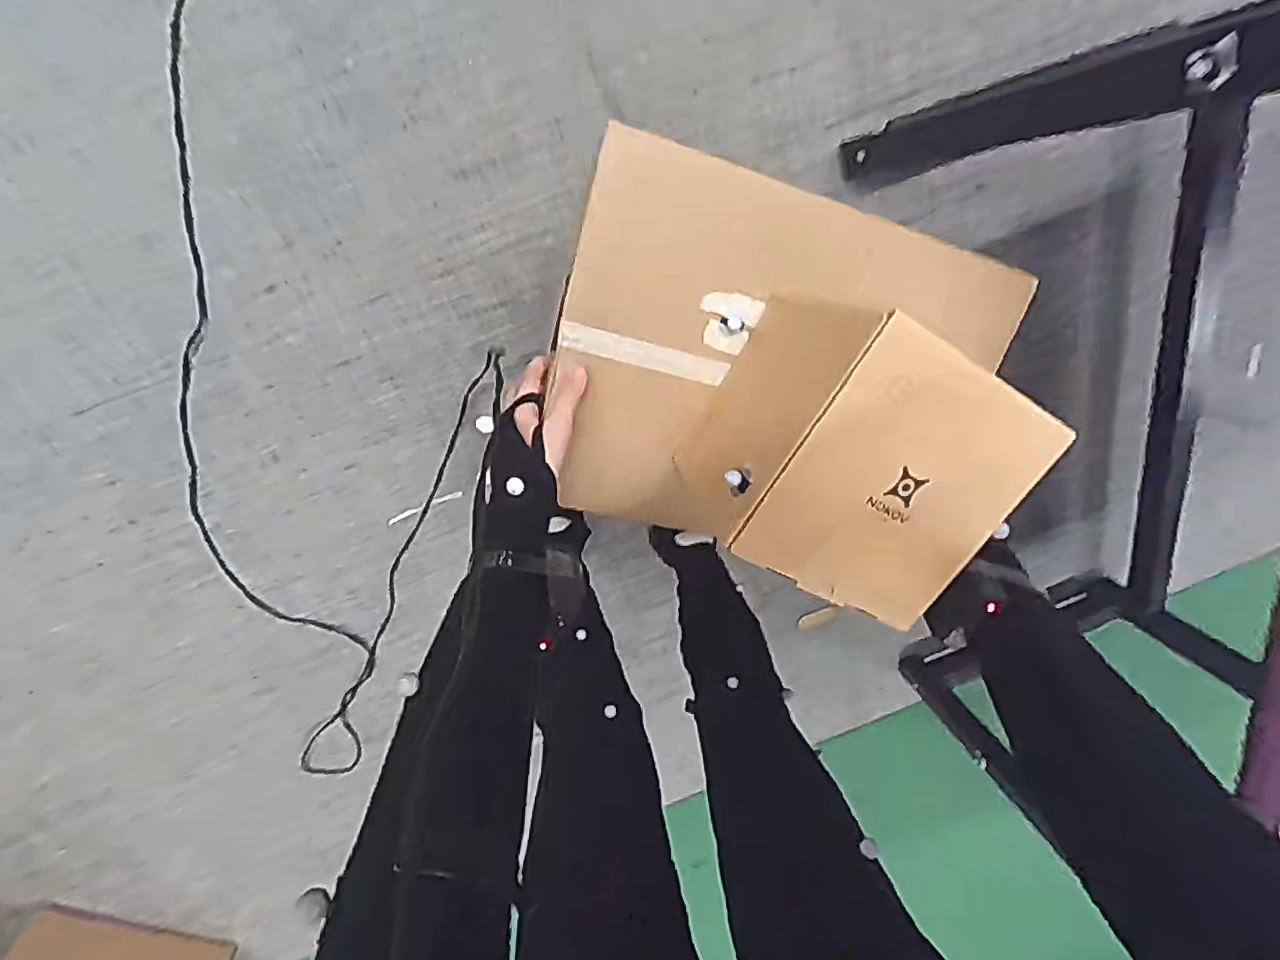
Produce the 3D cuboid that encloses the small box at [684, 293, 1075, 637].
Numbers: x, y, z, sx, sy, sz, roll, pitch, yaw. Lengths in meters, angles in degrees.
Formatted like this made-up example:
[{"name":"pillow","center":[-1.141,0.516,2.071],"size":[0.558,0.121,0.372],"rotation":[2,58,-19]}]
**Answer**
[{"name":"small box","center":[0.152,-0.022,0.409],"size":[0.168,0.176,0.179],"rotation":[25,108,-18]}]
